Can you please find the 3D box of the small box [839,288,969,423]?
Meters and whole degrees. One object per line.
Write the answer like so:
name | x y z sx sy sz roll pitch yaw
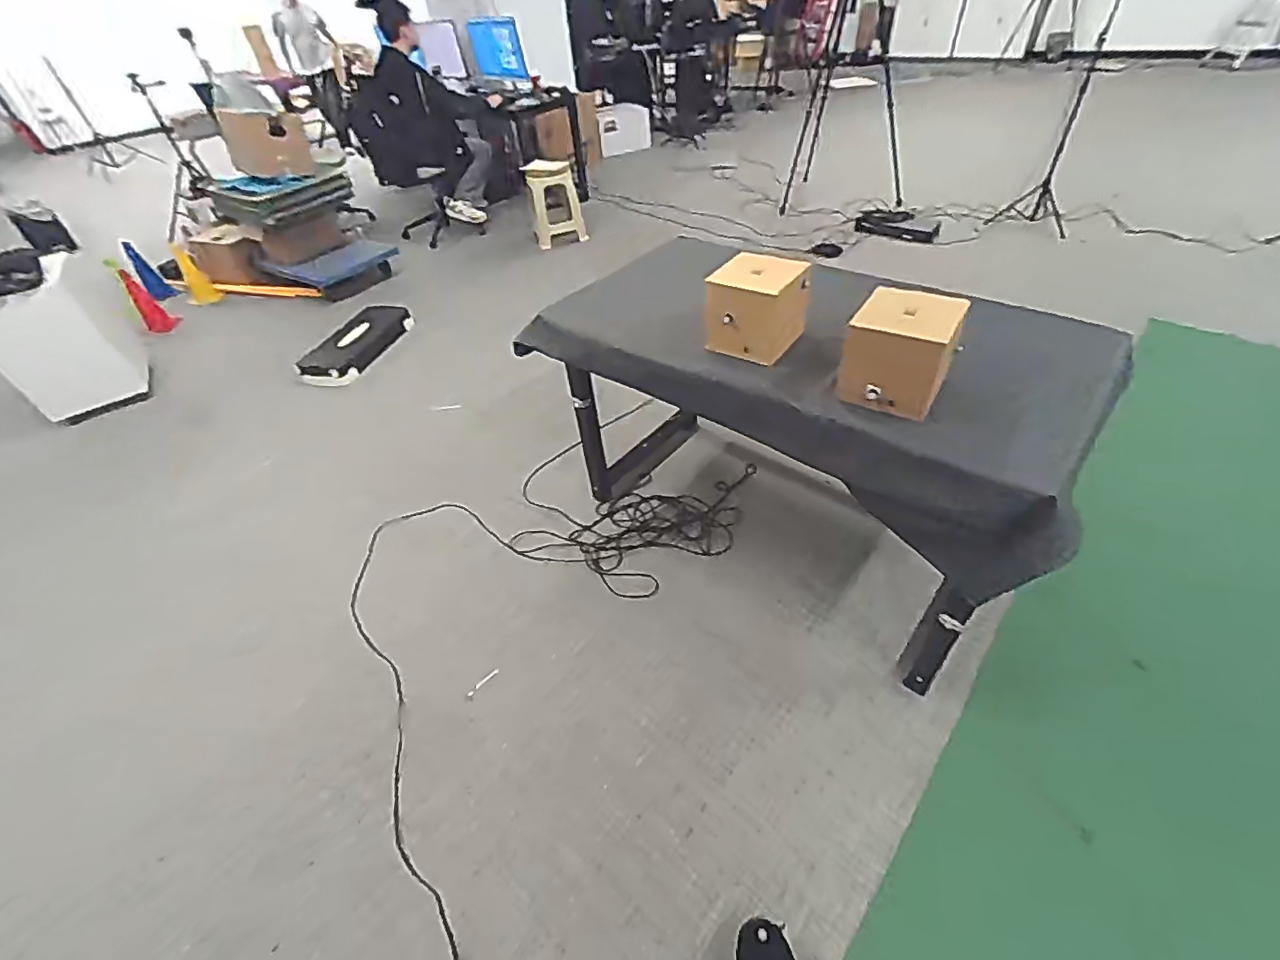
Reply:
small box | 0.491 -0.238 1.024 0.168 0.176 0.179 21 50 28

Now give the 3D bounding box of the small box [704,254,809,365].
small box | 0.256 -0.378 1.200 0.168 0.176 0.179 23 50 28
